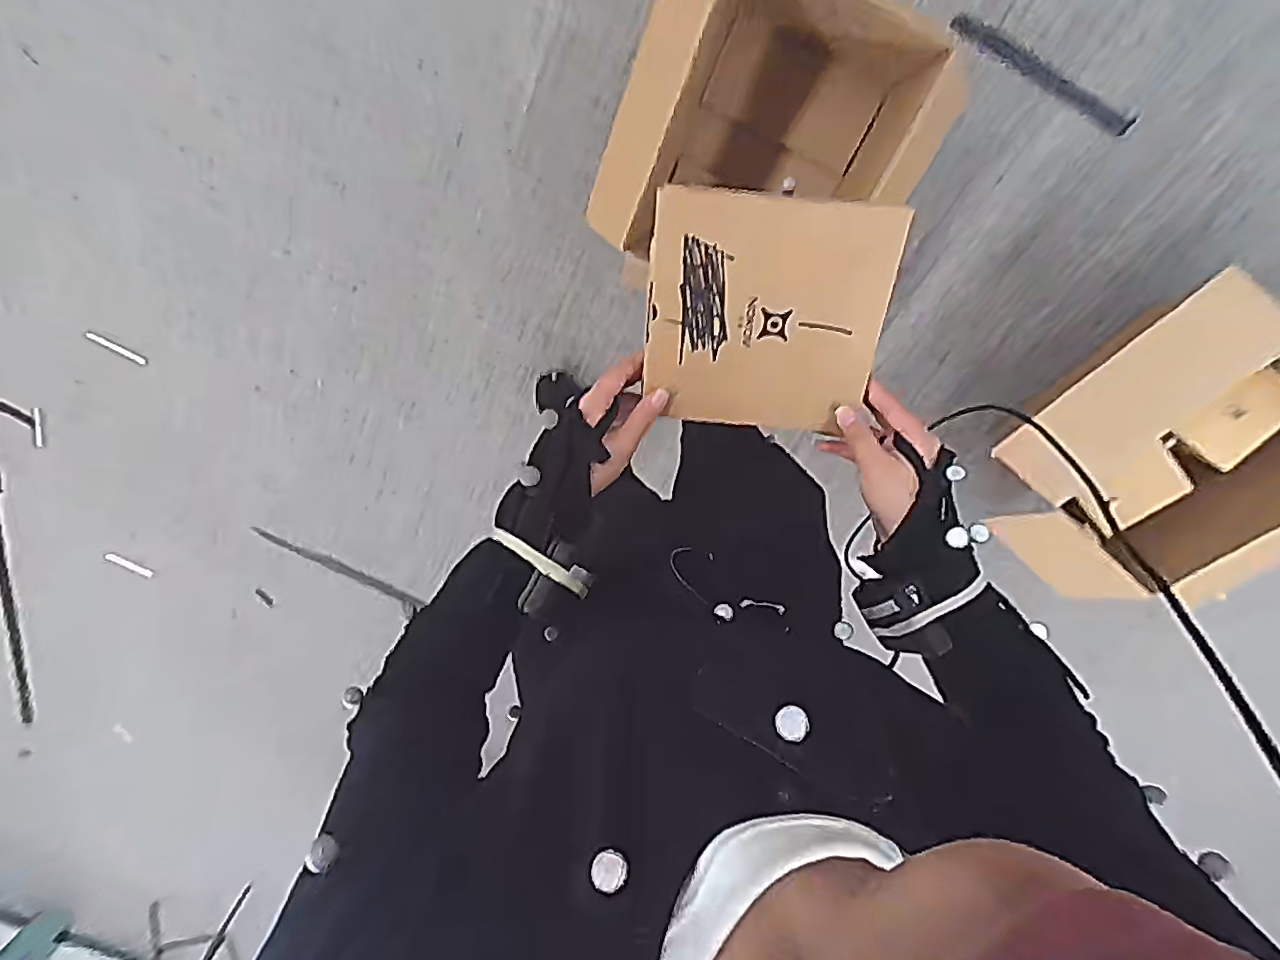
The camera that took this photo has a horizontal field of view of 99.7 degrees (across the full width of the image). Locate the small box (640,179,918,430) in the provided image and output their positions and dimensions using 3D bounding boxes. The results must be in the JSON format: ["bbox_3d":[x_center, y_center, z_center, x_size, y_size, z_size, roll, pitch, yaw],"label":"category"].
[{"bbox_3d":[0.103,-0.158,0.468,0.179,0.176,0.168,7,118,5],"label":"small box"}]
